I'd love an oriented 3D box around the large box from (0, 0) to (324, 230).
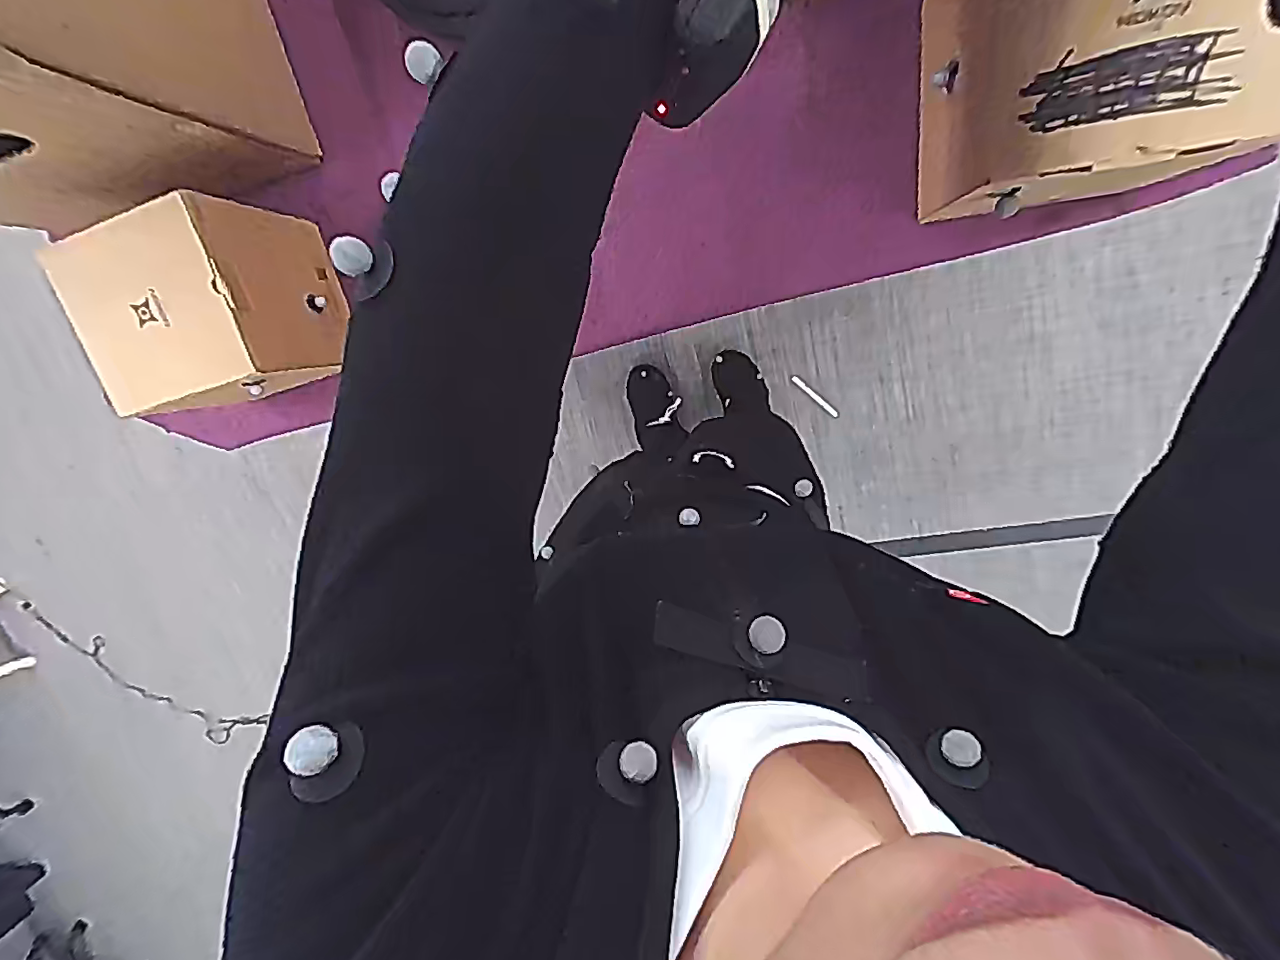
[{"bbox_3d":[-0.565,-0.472,0.447,0.320,0.320,0.408,-11,108,14],"label":"large box"}]
